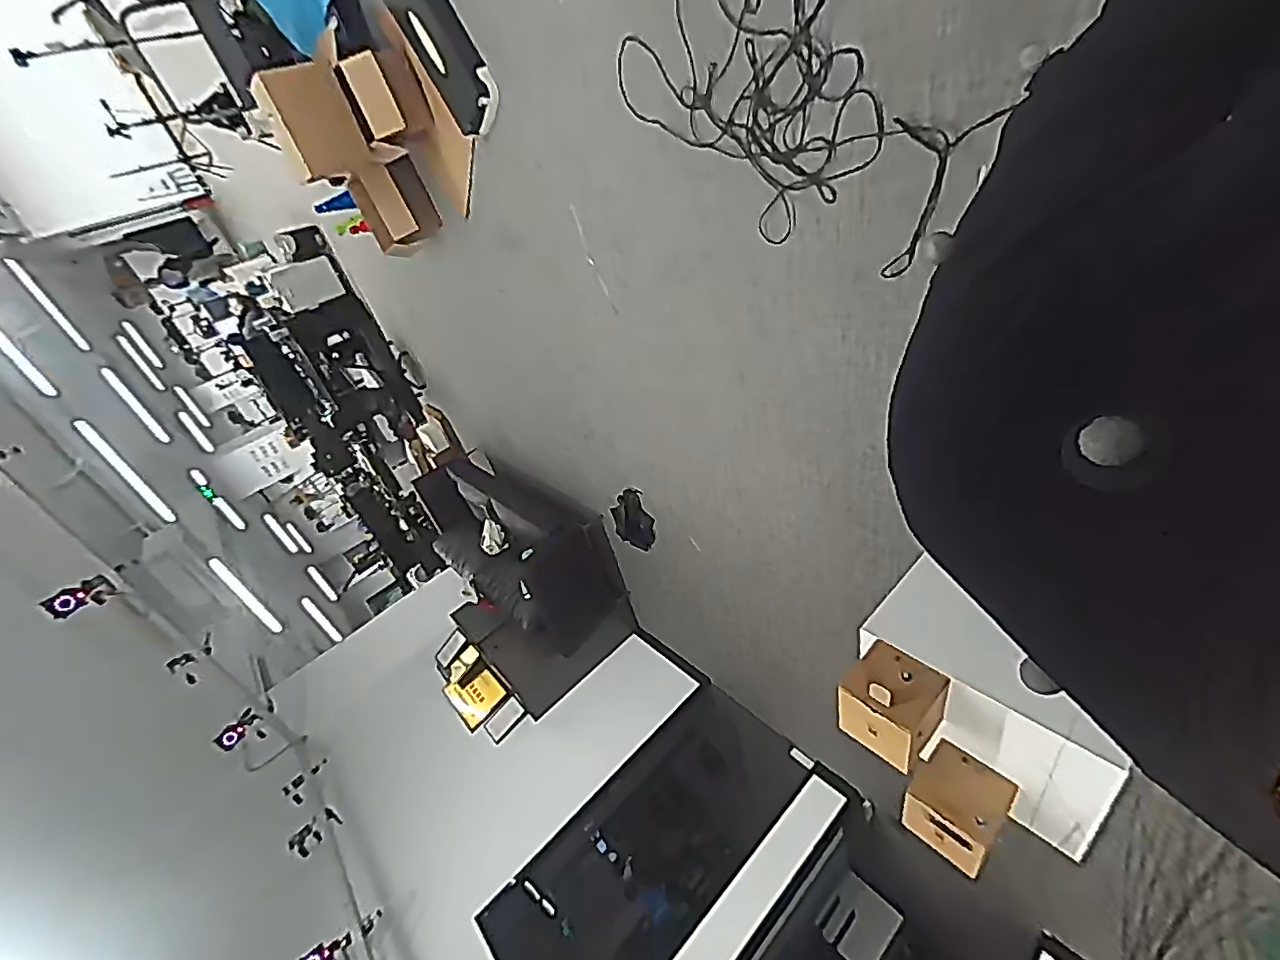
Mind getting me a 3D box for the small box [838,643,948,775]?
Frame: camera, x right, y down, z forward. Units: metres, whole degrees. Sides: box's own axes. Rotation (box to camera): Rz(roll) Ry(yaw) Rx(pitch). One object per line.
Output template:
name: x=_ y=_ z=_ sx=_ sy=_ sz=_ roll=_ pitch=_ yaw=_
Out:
small box: x=0.565 y=0.506 z=1.212 sx=0.168 sy=0.176 sz=0.179 roll=27 pitch=143 yaw=44
